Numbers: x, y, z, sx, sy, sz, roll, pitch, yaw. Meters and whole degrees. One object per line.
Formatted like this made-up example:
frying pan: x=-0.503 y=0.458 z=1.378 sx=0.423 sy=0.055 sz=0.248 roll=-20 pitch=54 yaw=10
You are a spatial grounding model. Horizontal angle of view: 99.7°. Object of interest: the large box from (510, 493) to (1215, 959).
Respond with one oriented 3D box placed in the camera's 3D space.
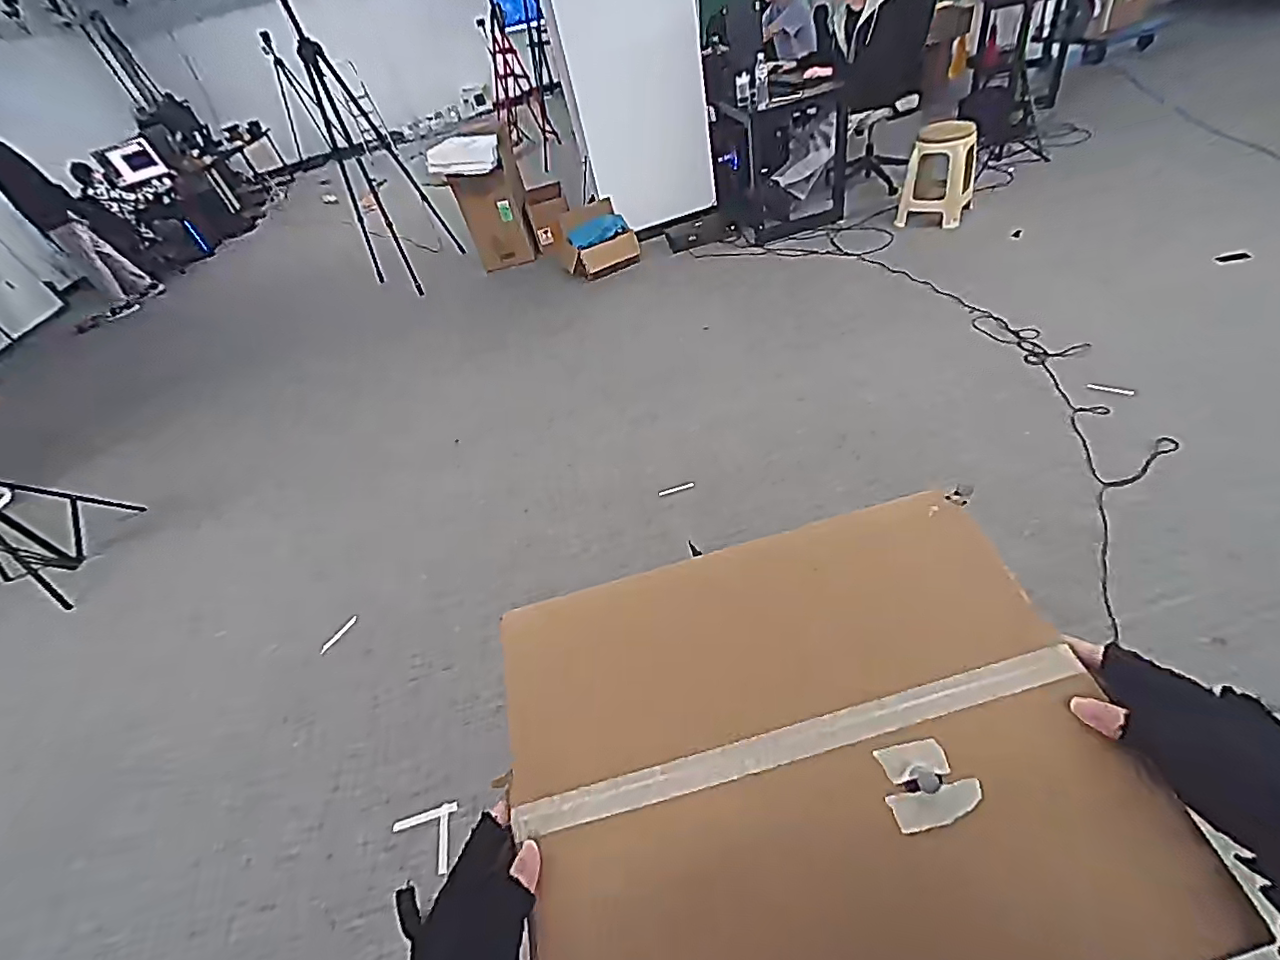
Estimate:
large box: x=0.131 y=0.270 z=0.515 sx=0.408 sy=0.320 sz=0.320 roll=-16 pitch=55 yaw=-2
